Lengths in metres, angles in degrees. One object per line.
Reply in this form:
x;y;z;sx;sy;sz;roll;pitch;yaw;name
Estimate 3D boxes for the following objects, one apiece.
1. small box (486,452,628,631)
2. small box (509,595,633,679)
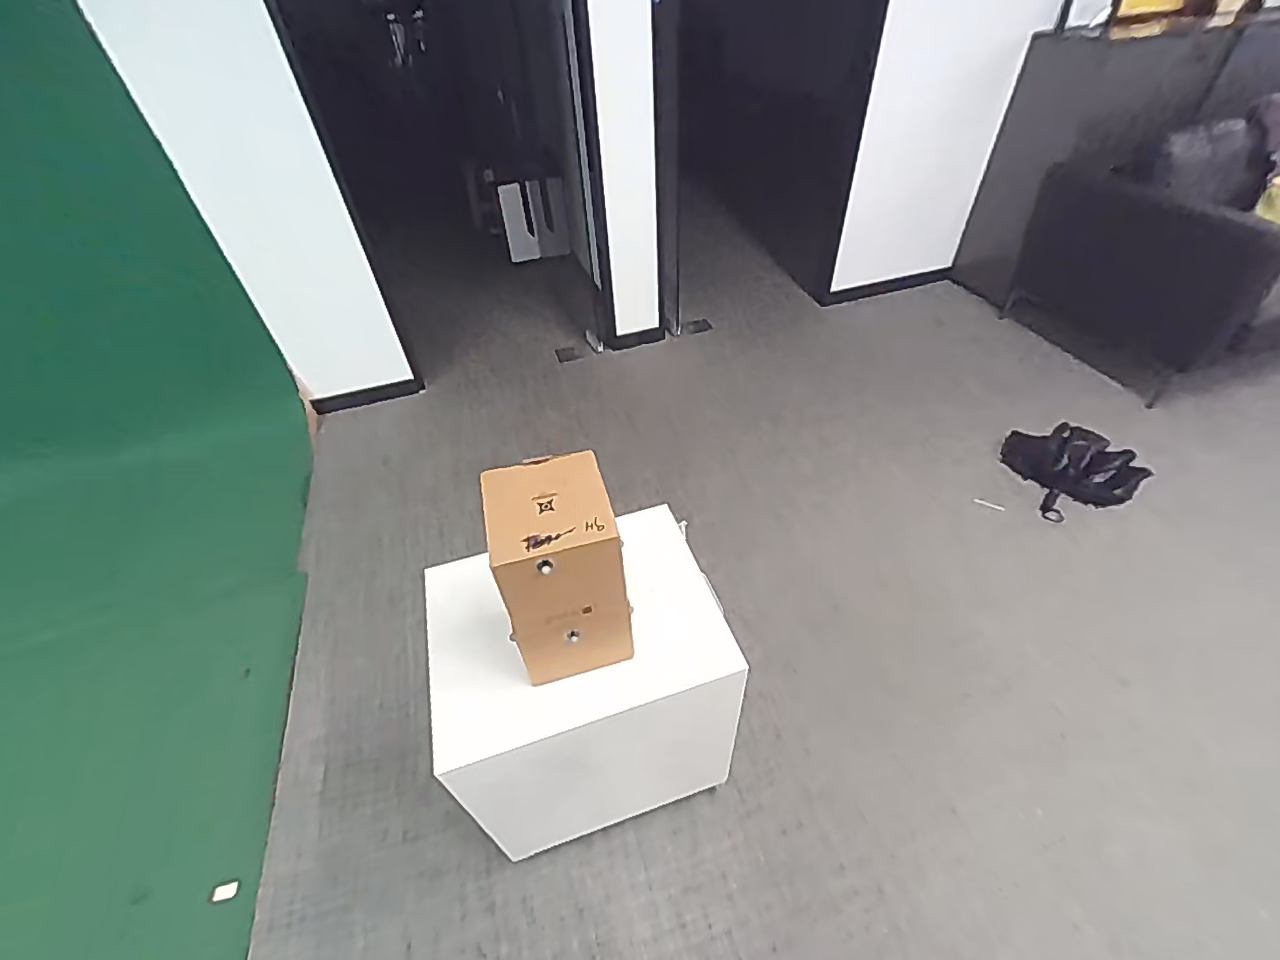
-0.120;0.089;0.792;0.168;0.176;0.179;-14;46;-12;small box
-0.117;0.206;0.903;0.179;0.176;0.168;-13;45;-10;small box
